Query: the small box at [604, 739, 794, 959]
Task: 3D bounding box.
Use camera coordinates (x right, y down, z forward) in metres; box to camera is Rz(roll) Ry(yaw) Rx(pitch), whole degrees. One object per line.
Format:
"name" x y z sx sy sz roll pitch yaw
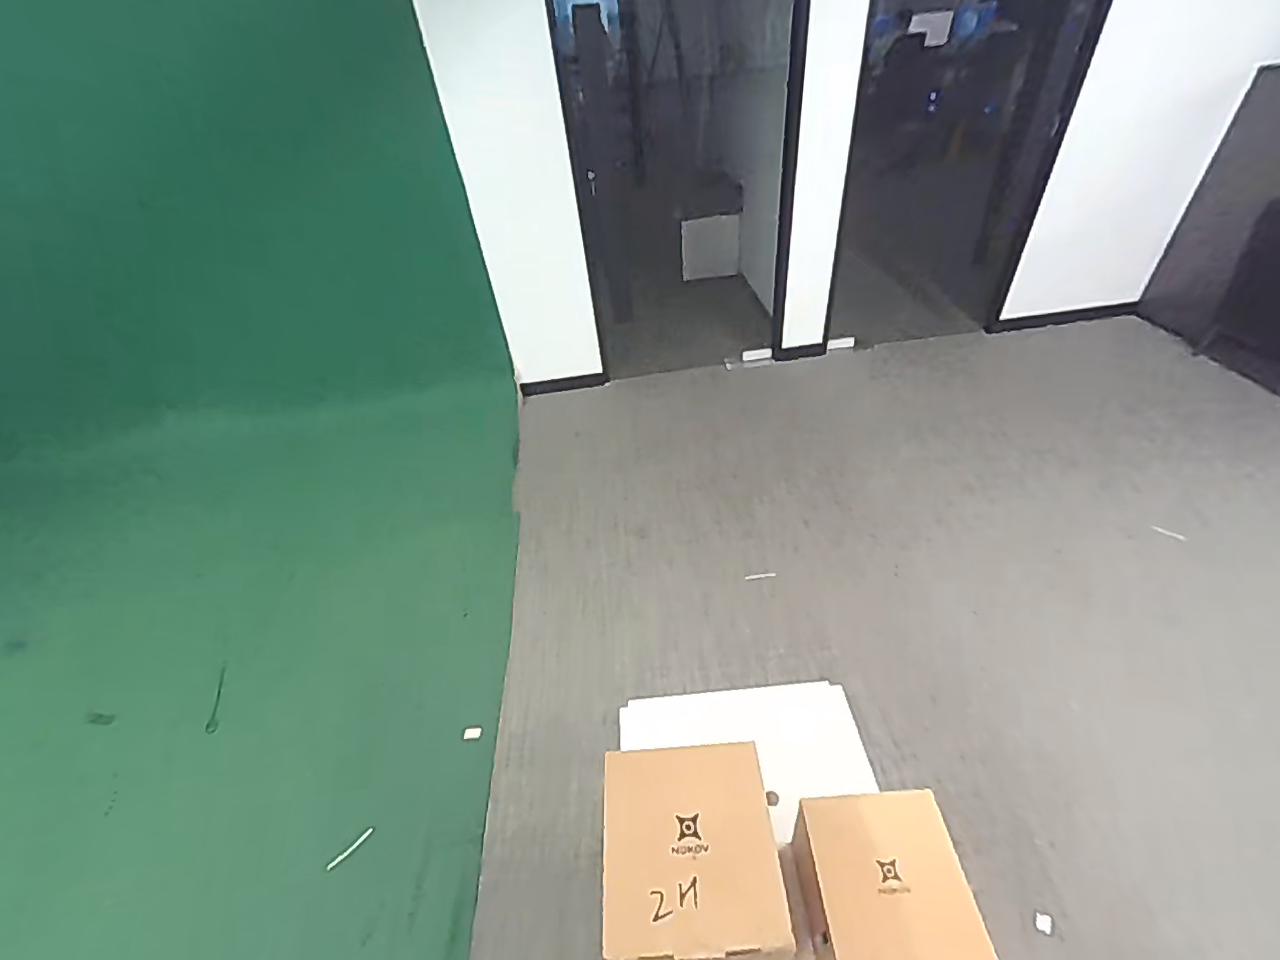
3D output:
"small box" 0.055 0.403 0.575 0.168 0.176 0.179 -5 41 2

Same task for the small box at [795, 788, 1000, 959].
"small box" 0.296 0.510 0.670 0.168 0.176 0.179 -6 41 3
